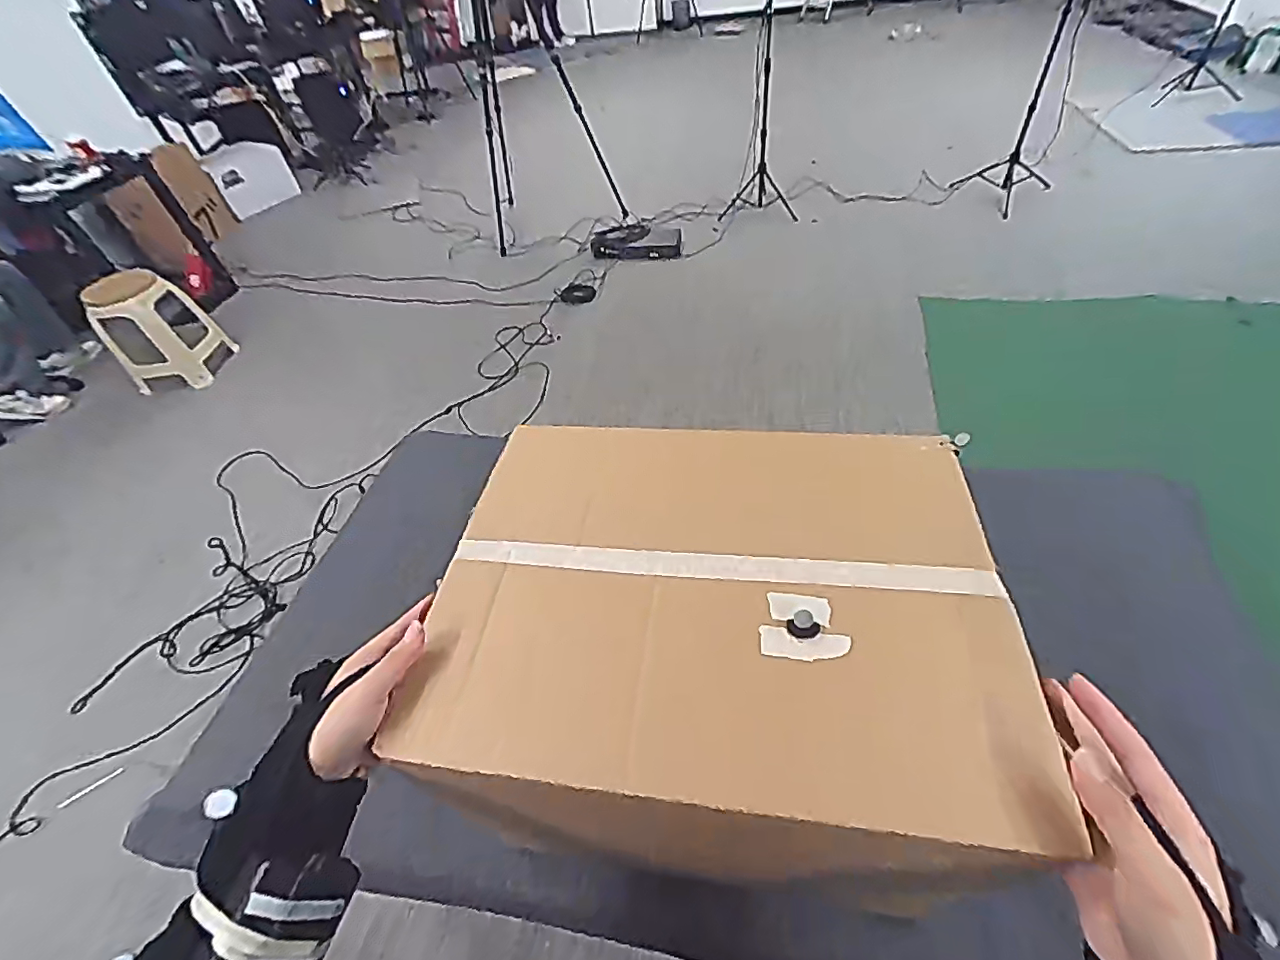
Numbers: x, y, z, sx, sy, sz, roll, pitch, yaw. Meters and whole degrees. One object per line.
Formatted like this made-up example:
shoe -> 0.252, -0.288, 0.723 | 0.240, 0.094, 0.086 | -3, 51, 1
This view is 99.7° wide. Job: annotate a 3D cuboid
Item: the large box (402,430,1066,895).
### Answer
large box -> 0.068, 0.169, 0.529 | 0.408, 0.320, 0.320 | 3, 48, 9
